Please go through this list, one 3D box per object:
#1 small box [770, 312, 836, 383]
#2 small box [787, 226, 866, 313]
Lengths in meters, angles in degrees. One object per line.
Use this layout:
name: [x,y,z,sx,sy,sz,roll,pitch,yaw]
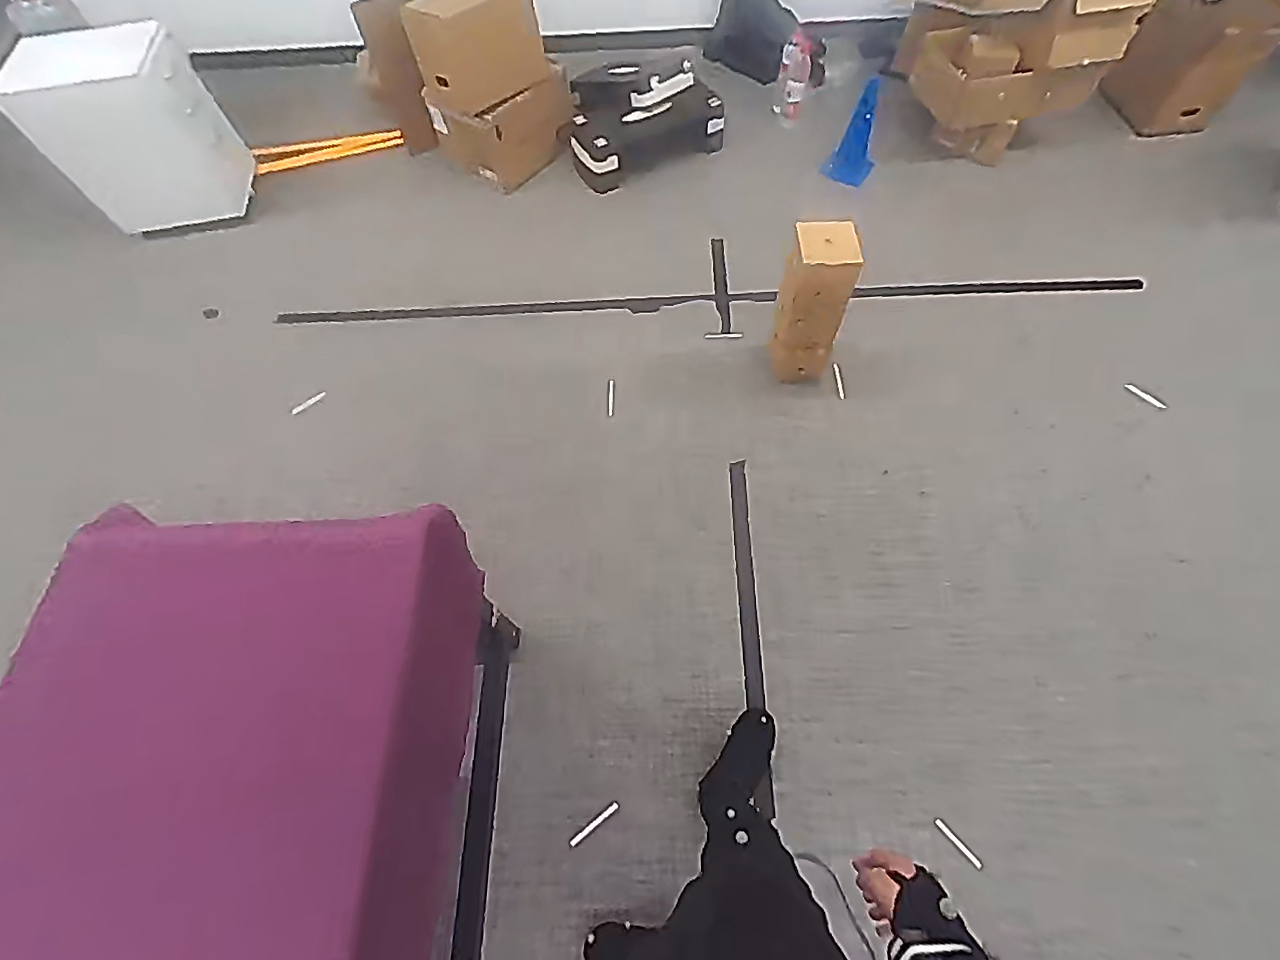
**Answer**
small box: [0.555,-0.456,1.868,0.168,0.176,0.179,-4,63,0]
small box: [0.537,-0.614,1.581,0.168,0.176,0.179,0,62,1]
